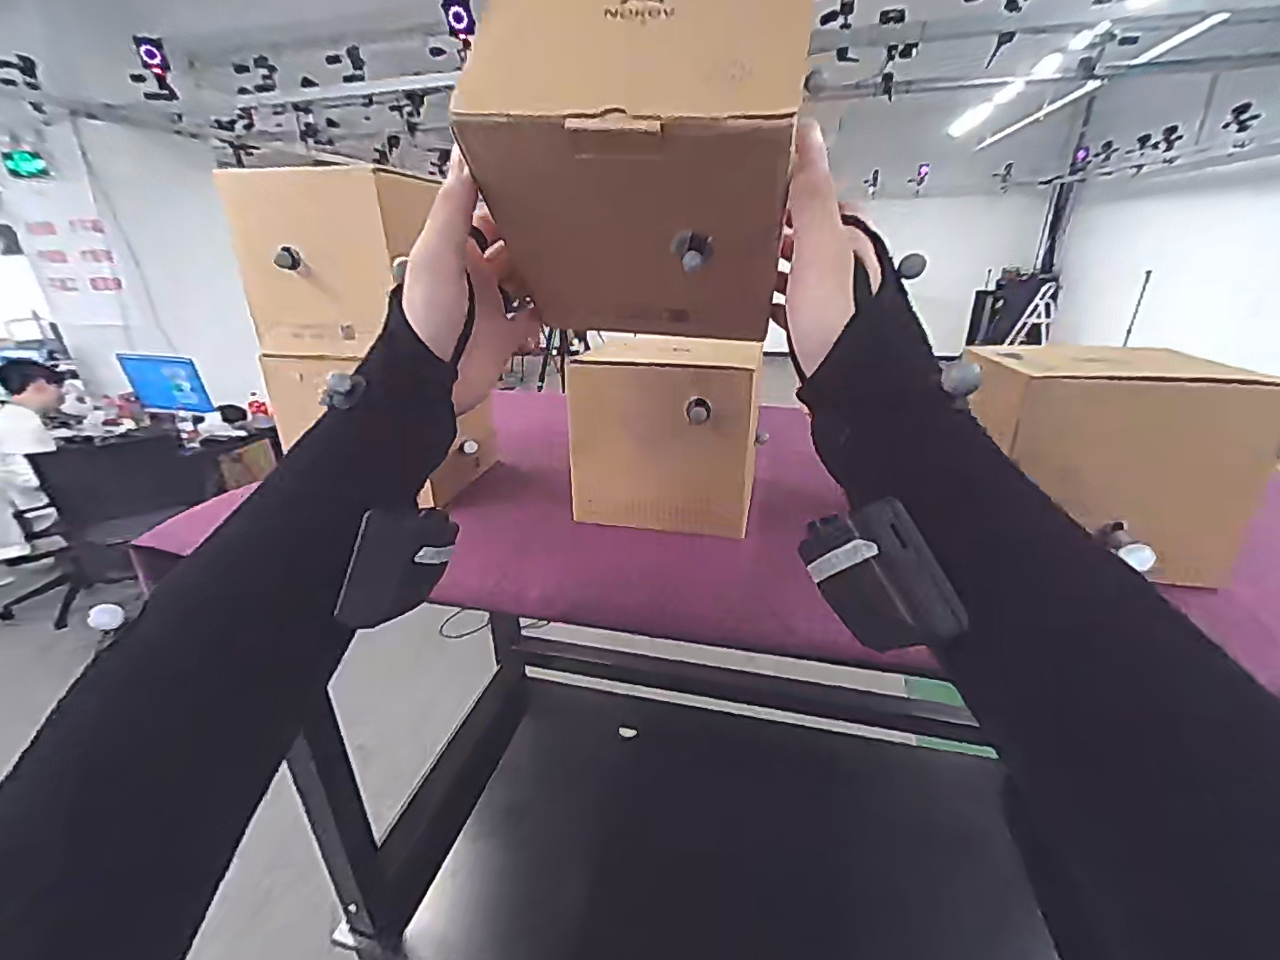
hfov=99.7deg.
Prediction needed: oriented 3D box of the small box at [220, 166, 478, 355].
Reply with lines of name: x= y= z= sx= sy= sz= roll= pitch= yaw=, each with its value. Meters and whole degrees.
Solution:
small box: x=-0.292 y=-0.229 z=0.589 sx=0.168 sy=0.176 sz=0.179 roll=3 pitch=22 yaw=9

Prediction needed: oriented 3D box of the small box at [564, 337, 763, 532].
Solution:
small box: x=0.034 y=-0.055 z=0.581 sx=0.179 sy=0.176 sz=0.168 roll=4 pitch=21 yaw=14

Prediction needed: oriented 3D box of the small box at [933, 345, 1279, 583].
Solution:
small box: x=0.393 y=-0.024 z=0.491 sx=0.179 sy=0.176 sz=0.168 roll=5 pitch=21 yaw=14

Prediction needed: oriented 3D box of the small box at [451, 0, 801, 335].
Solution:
small box: x=0.010 y=-0.217 z=0.355 sx=0.168 sy=0.179 sz=0.176 roll=8 pitch=-20 yaw=11

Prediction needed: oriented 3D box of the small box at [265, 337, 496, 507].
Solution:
small box: x=-0.291 y=-0.077 z=0.646 sx=0.179 sy=0.176 sz=0.168 roll=5 pitch=23 yaw=10
